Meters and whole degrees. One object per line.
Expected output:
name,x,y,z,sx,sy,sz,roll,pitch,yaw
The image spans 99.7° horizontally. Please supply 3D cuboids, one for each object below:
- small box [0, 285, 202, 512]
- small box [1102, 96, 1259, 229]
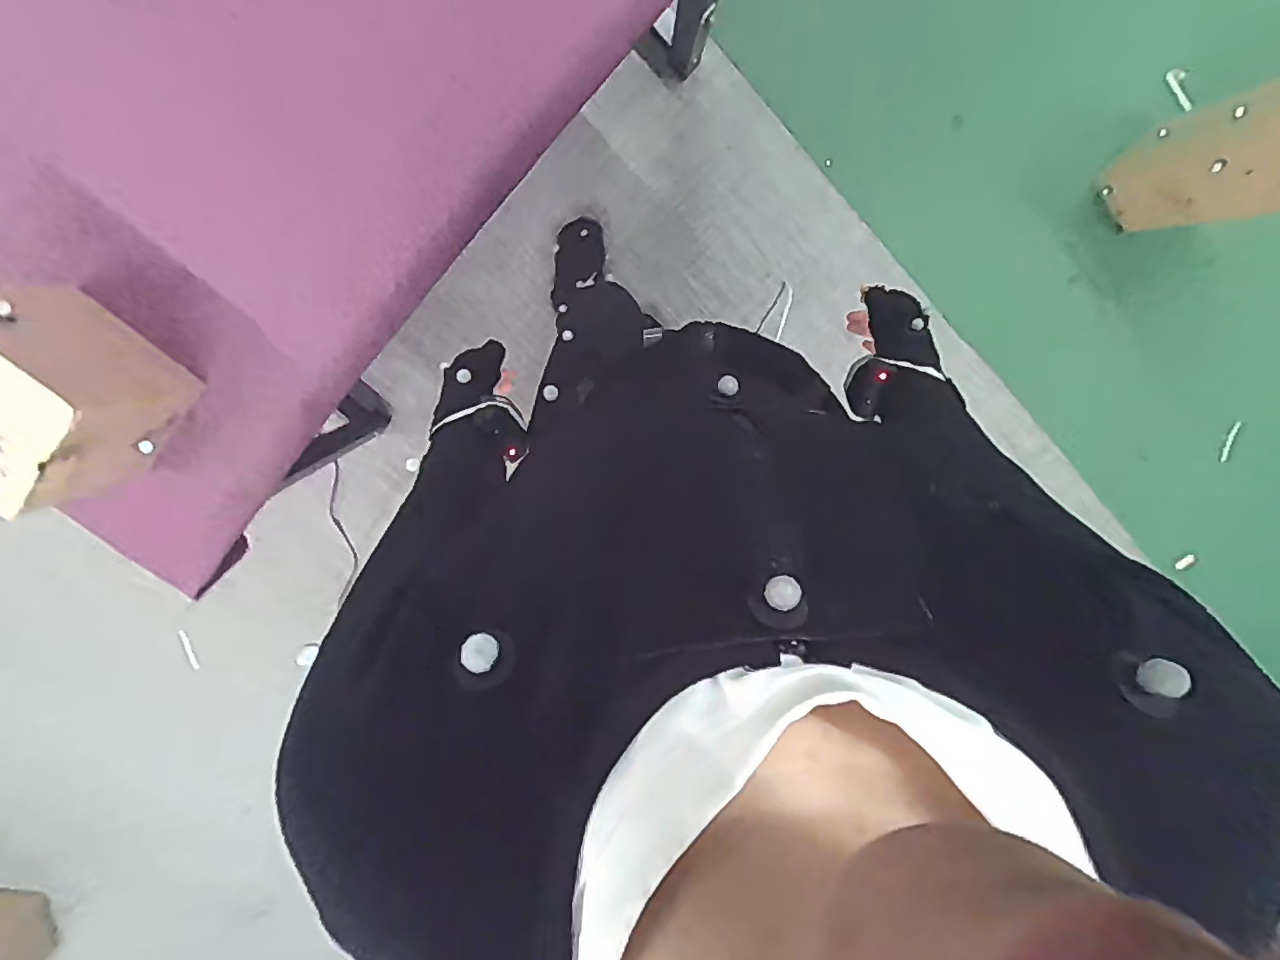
small box,-0.669,-0.100,0.612,0.179,0.176,0.168,42,104,-13
small box,1.183,-0.684,1.195,0.168,0.176,0.179,42,103,-14
